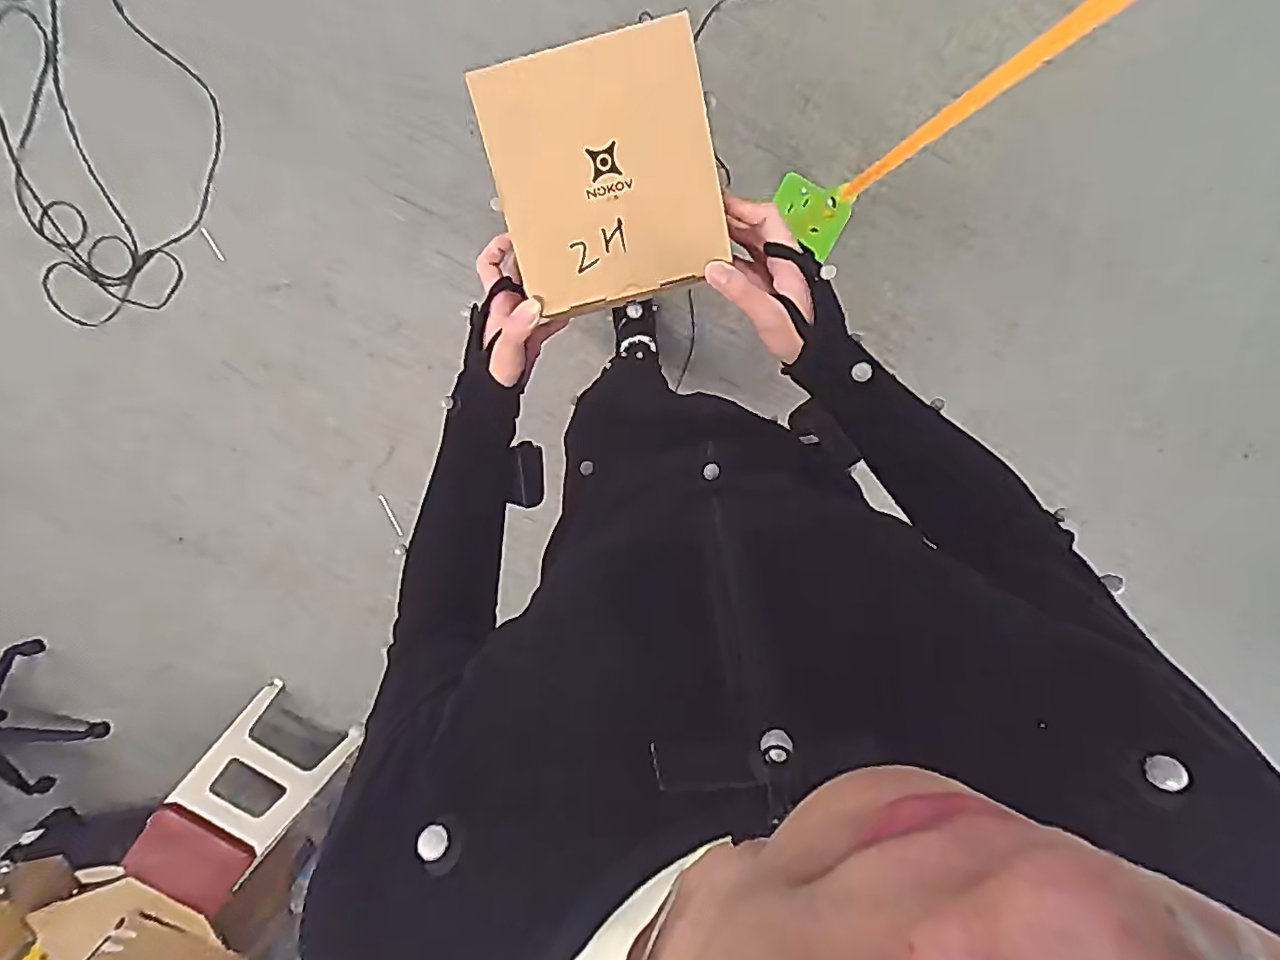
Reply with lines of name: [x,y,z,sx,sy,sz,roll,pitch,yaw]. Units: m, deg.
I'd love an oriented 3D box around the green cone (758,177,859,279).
green cone: [0.426,-0.614,1.240,0.202,0.368,0.200,26,103,-4]
